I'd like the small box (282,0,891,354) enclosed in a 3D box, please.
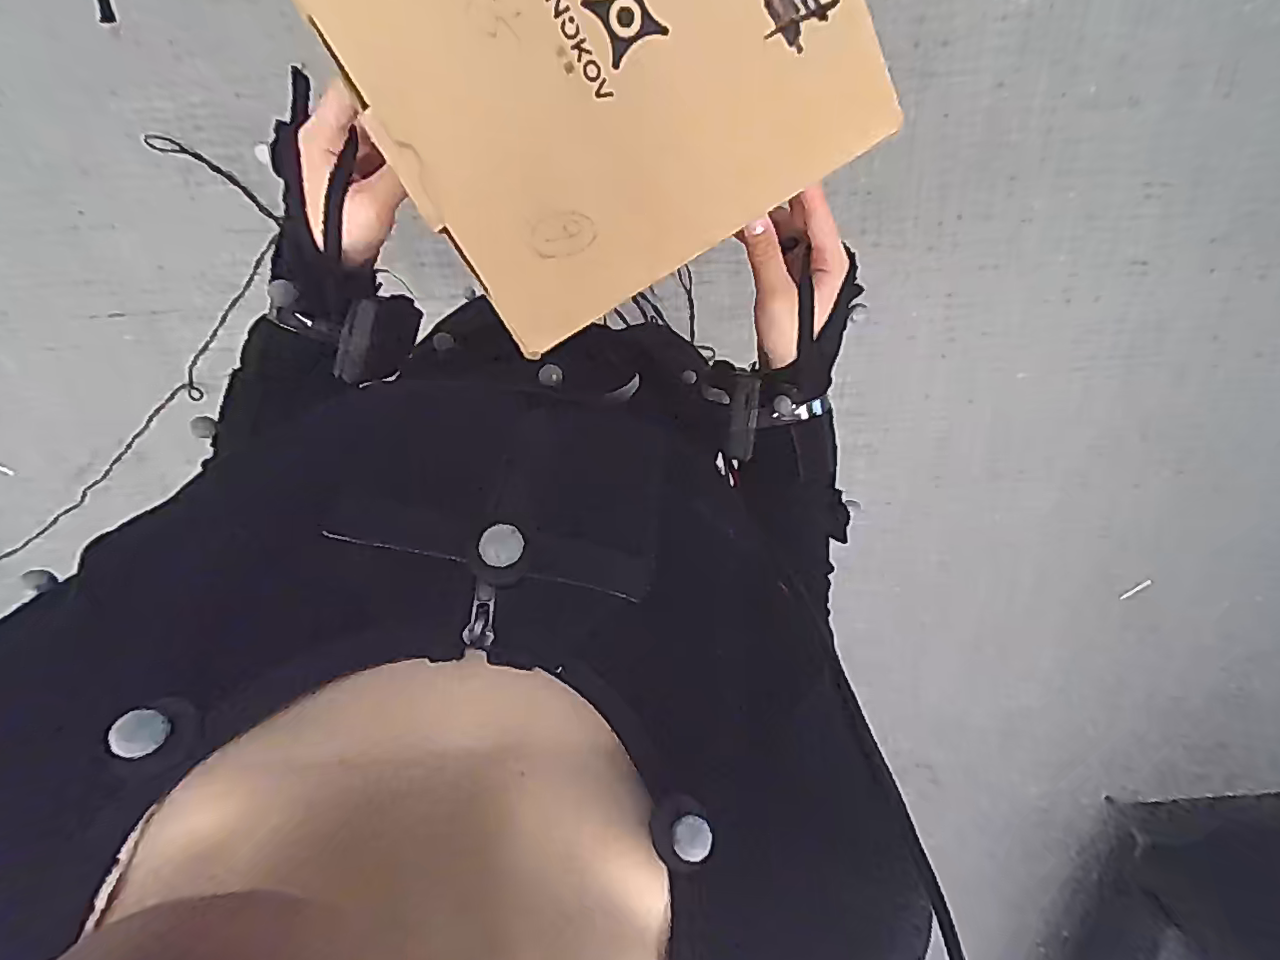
[{"bbox_3d":[-0.020,-0.183,0.269,0.179,0.176,0.168,-30,109,7],"label":"small box"}]
